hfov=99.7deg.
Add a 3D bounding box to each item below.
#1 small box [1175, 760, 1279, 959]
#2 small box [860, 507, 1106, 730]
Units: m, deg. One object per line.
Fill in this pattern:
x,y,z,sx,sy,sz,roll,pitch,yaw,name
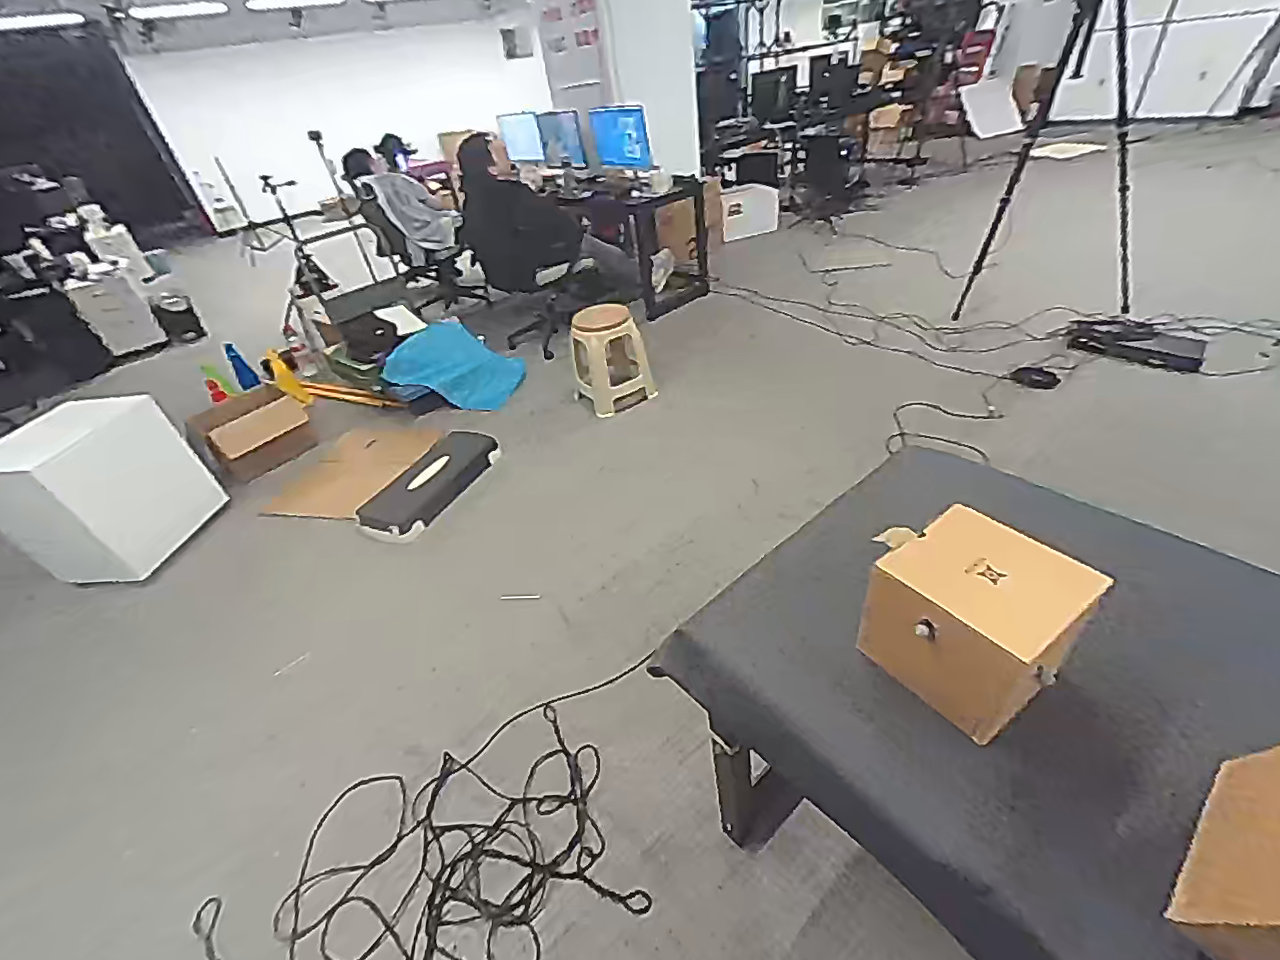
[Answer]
0.545,0.315,0.380,0.179,0.176,0.168,-38,60,-24,small box
0.396,0.169,0.655,0.168,0.176,0.179,-27,40,-23,small box
